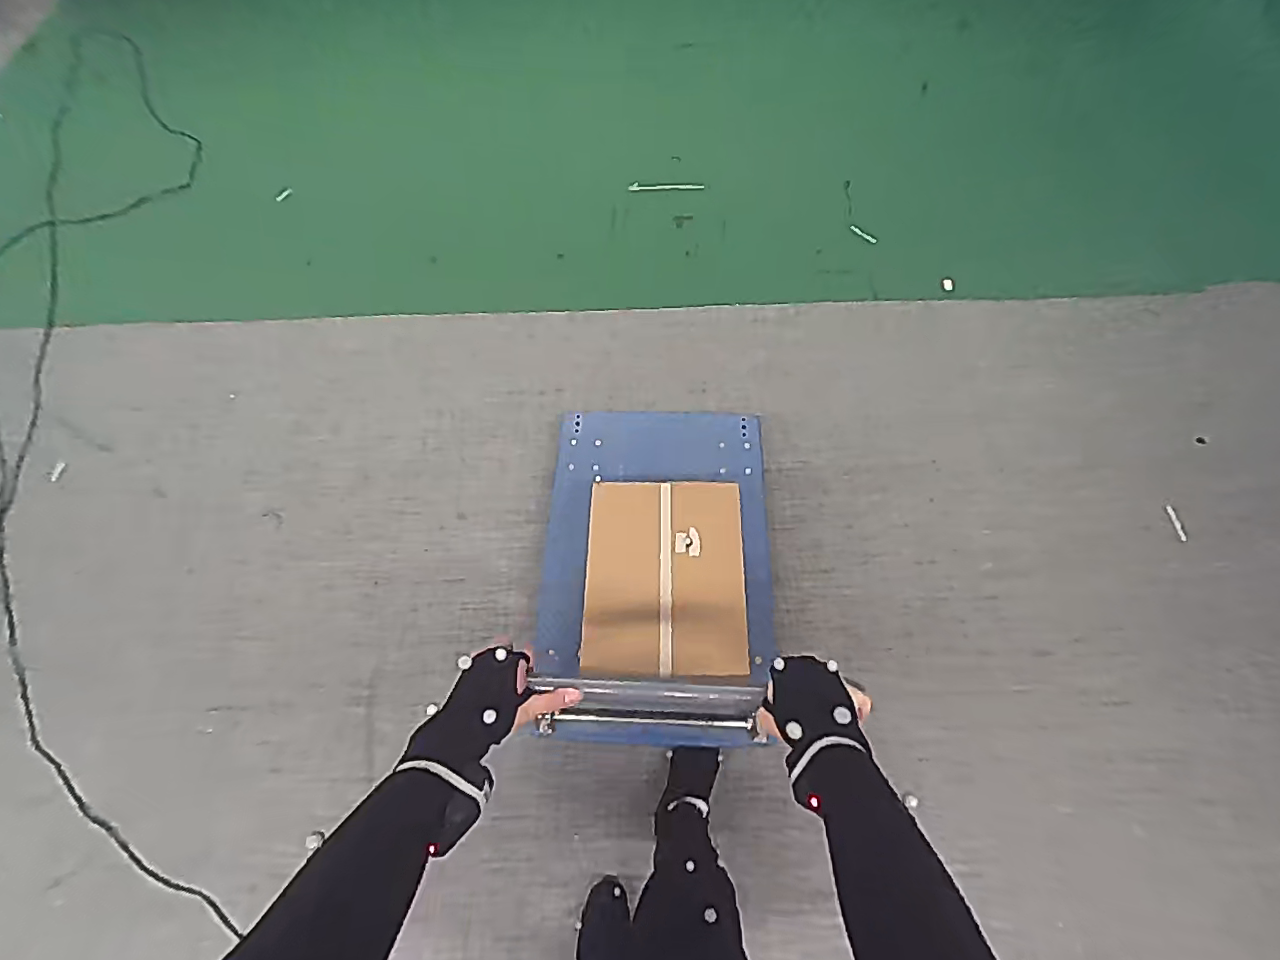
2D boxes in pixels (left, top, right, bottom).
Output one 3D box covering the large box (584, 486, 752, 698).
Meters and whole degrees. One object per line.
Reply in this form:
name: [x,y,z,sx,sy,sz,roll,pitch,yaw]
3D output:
large box: [0.058,0.259,1.202,0.320,0.320,0.408,1,63,2]
